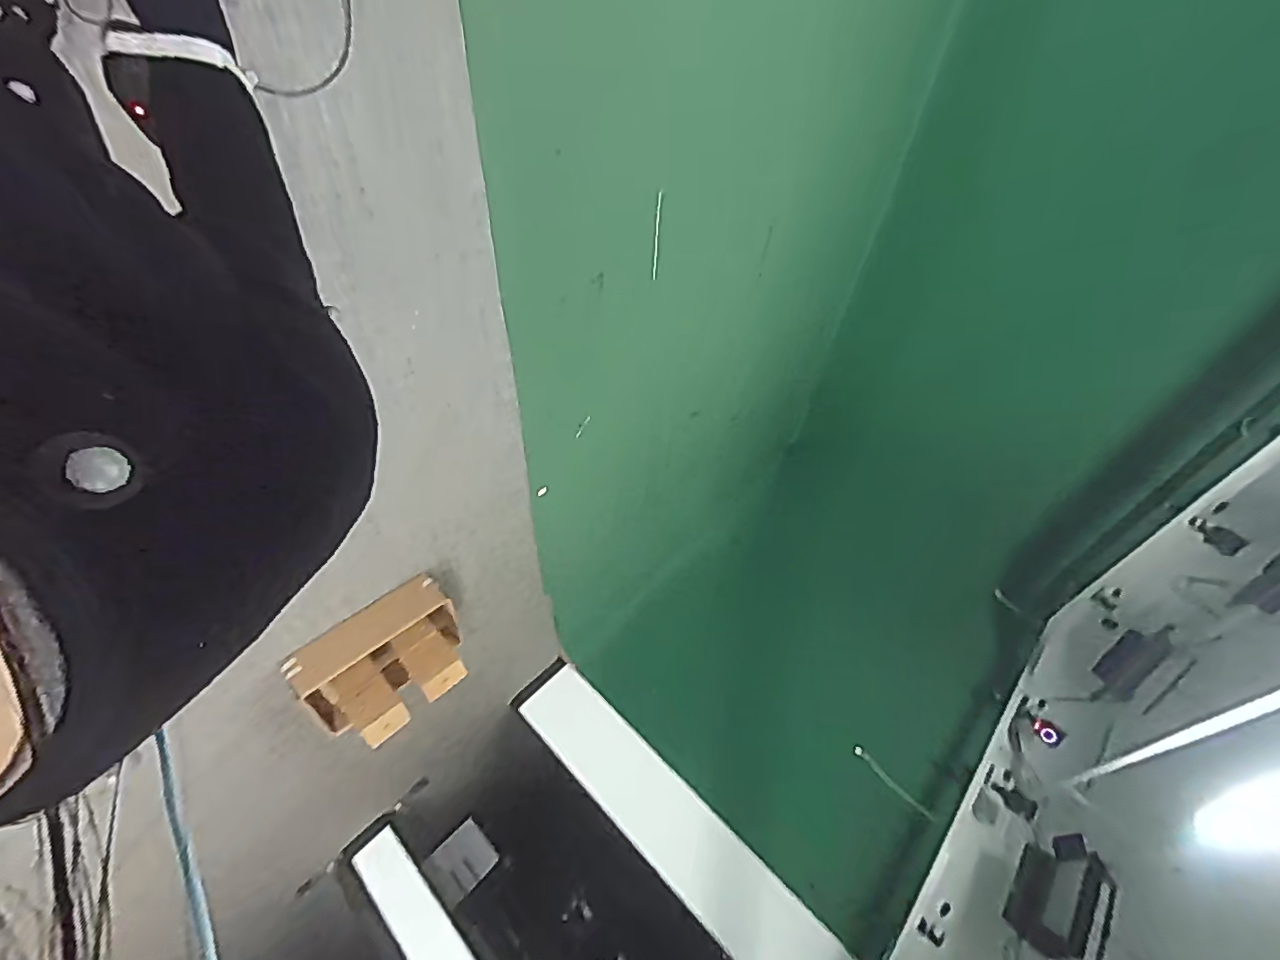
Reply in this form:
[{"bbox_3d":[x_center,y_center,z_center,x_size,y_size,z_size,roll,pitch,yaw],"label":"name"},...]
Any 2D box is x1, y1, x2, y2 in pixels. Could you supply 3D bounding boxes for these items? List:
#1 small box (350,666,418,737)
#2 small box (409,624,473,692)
[{"bbox_3d":[-1.008,0.865,2.127,0.168,0.176,0.179,-35,148,-32],"label":"small box"},{"bbox_3d":[-0.829,0.737,2.257,0.179,0.176,0.168,-35,148,-30],"label":"small box"}]
